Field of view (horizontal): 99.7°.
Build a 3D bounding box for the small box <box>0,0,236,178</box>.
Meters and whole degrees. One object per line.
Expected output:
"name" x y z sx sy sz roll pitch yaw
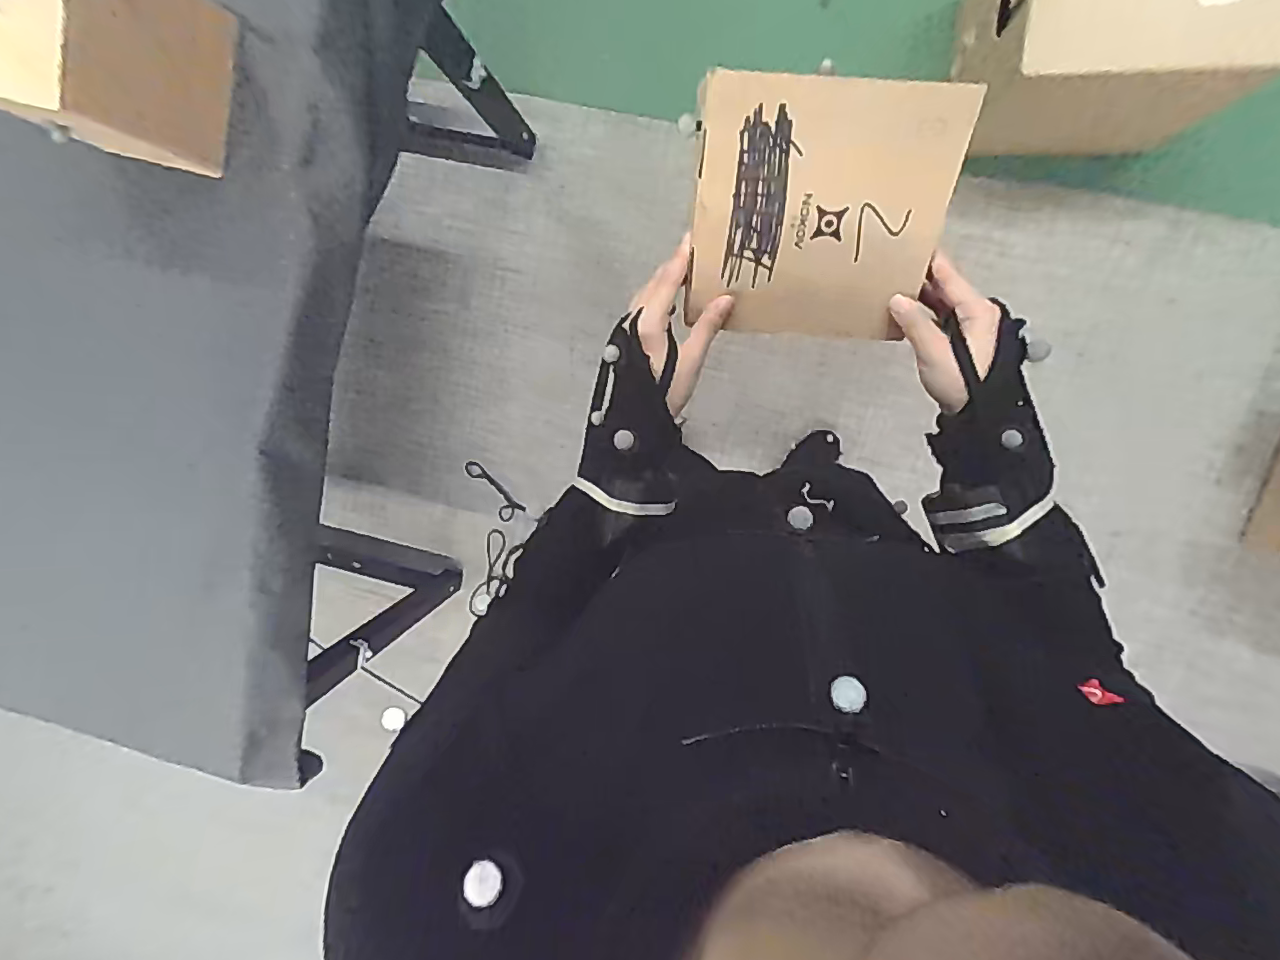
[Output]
"small box" -0.568 -0.447 0.564 0.168 0.176 0.179 16 101 6
